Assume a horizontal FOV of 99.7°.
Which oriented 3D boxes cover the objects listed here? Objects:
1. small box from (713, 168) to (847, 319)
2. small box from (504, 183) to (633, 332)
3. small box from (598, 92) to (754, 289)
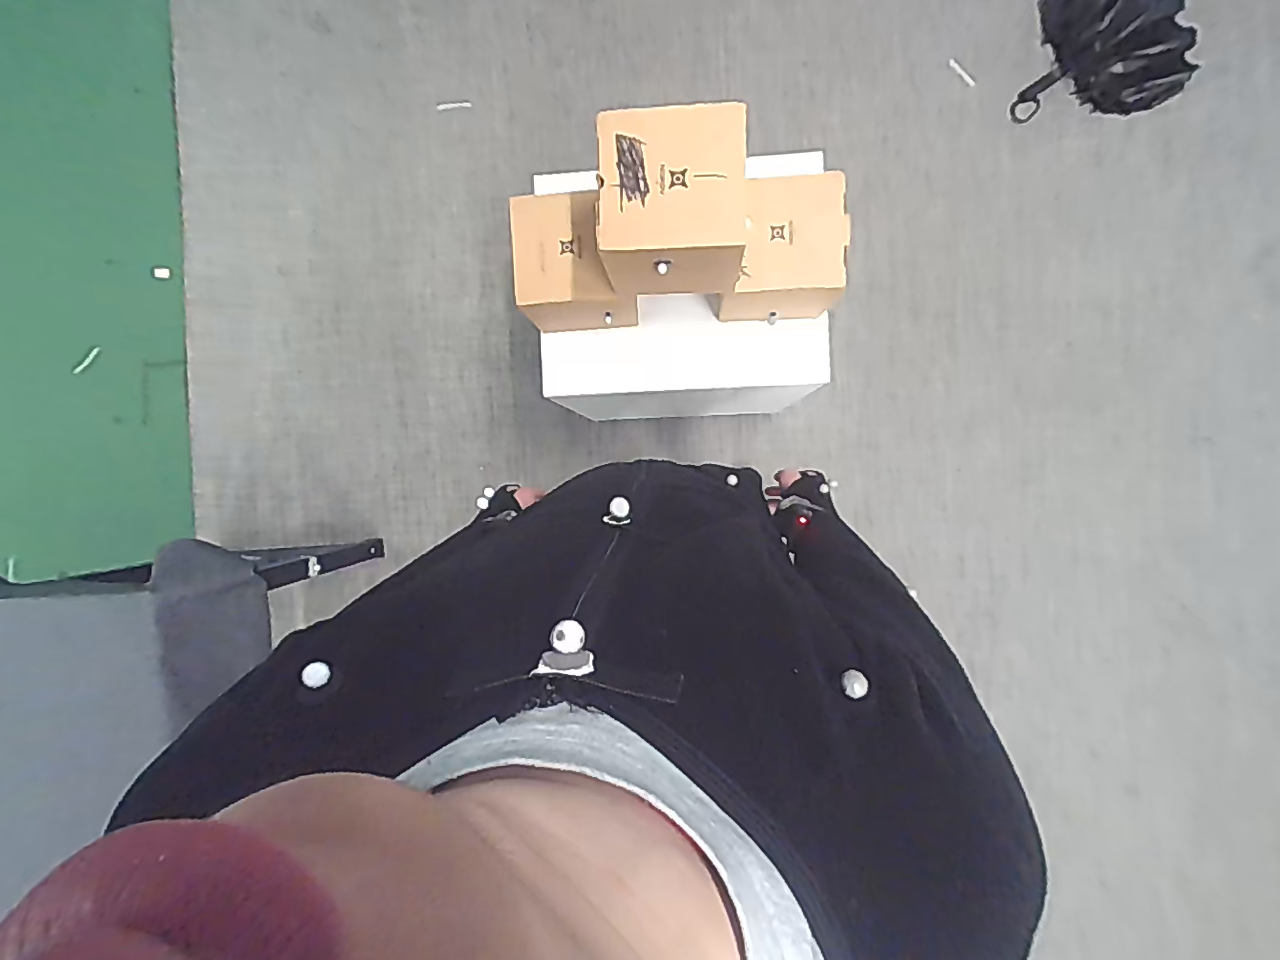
[{"bbox_3d":[0.209,-0.358,0.846,0.179,0.176,0.168,-2,91,4],"label":"small box"},{"bbox_3d":[-0.103,-0.342,0.859,0.179,0.176,0.168,-5,90,3],"label":"small box"},{"bbox_3d":[0.045,-0.352,0.689,0.179,0.176,0.168,-1,91,3],"label":"small box"}]
